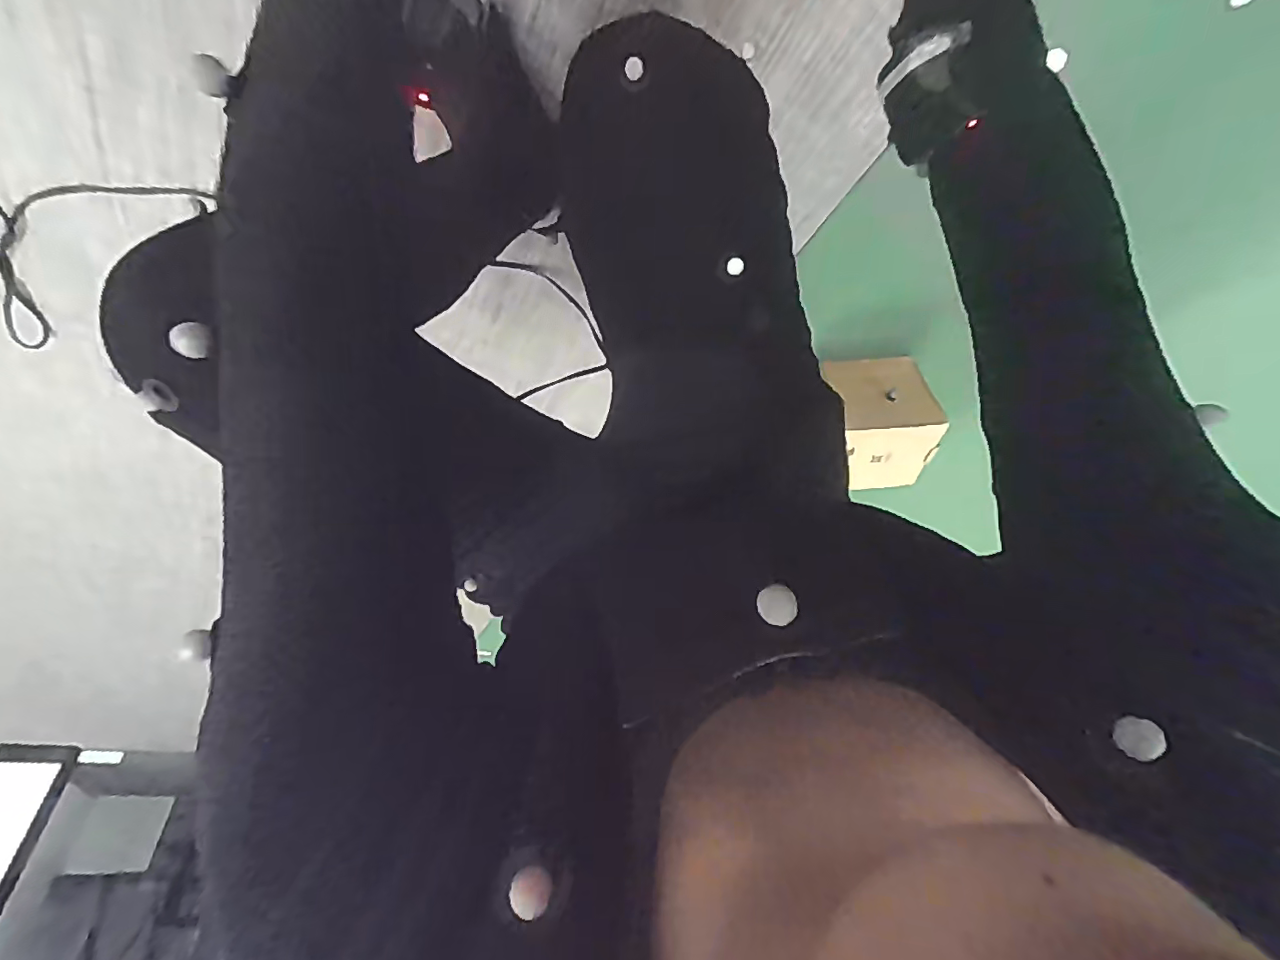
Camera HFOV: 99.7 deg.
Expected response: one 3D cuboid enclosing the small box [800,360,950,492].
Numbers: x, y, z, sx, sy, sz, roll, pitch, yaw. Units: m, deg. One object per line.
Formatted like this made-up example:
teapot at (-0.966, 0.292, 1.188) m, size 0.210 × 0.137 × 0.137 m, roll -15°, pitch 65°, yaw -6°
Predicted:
small box at (0.405, -0.098, 0.967) m, size 0.179 × 0.176 × 0.168 m, roll -5°, pitch 143°, yaw 0°
